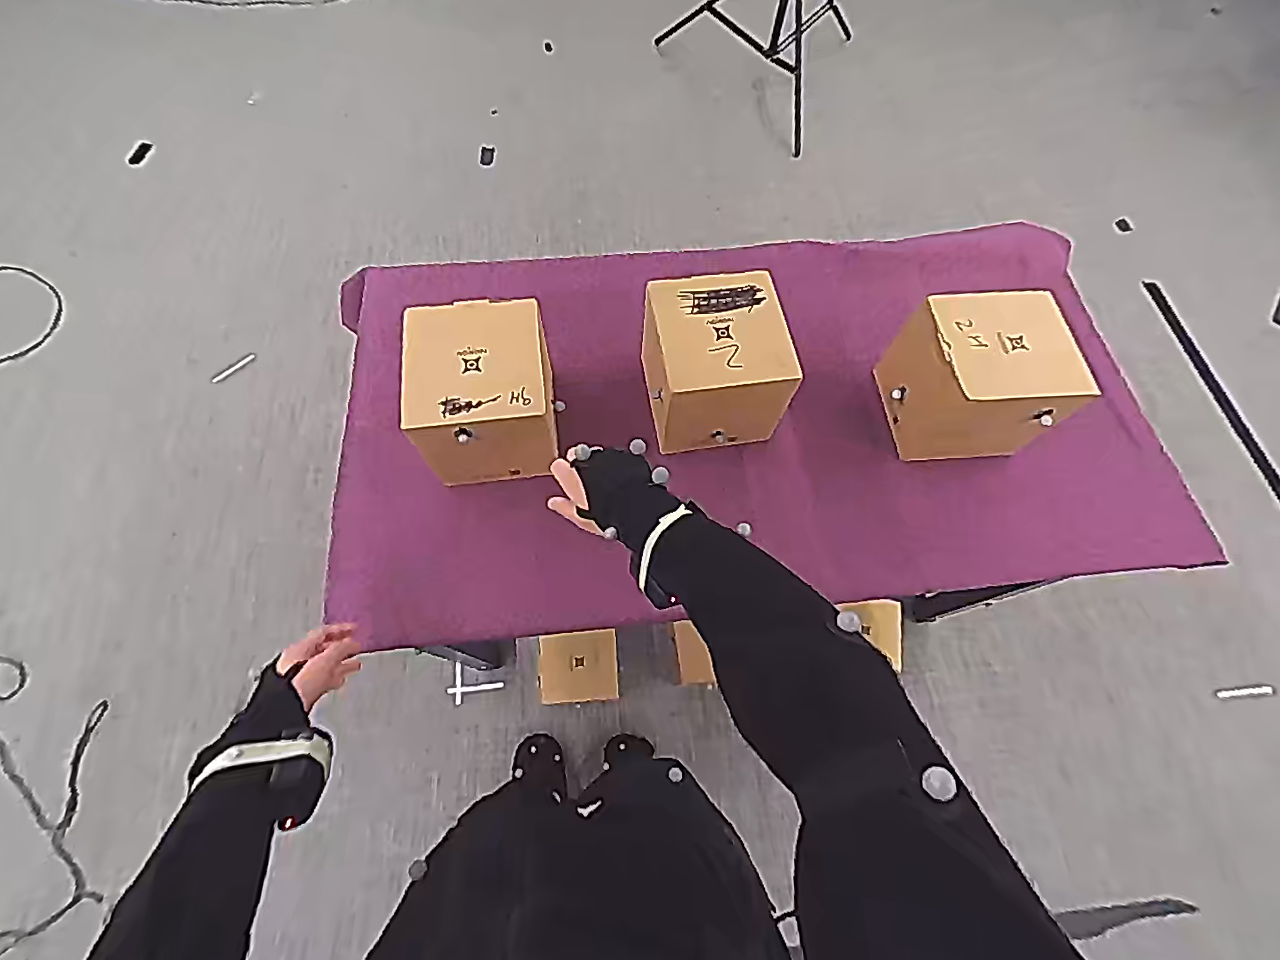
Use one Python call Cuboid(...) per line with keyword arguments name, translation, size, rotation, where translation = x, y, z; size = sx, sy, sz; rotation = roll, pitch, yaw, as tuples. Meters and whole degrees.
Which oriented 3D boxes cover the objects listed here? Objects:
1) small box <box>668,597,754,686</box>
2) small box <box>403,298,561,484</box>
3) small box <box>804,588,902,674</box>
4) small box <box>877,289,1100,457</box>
Cuboid(name="small box", translation=(0.163, 0.393, 1.307), size=(0.168, 0.176, 0.179), rotation=(-6, 68, -4))
Cuboid(name="small box", translation=(-0.200, -0.113, 0.720), size=(0.168, 0.176, 0.179), rotation=(-7, 67, -5))
Cuboid(name="small box", translation=(0.518, 0.376, 1.328), size=(0.179, 0.176, 0.168), rotation=(10, 67, 4))
Cuboid(name="small box", translation=(0.466, -0.143, 0.755), size=(0.179, 0.176, 0.168), rotation=(-4, 65, -3))
